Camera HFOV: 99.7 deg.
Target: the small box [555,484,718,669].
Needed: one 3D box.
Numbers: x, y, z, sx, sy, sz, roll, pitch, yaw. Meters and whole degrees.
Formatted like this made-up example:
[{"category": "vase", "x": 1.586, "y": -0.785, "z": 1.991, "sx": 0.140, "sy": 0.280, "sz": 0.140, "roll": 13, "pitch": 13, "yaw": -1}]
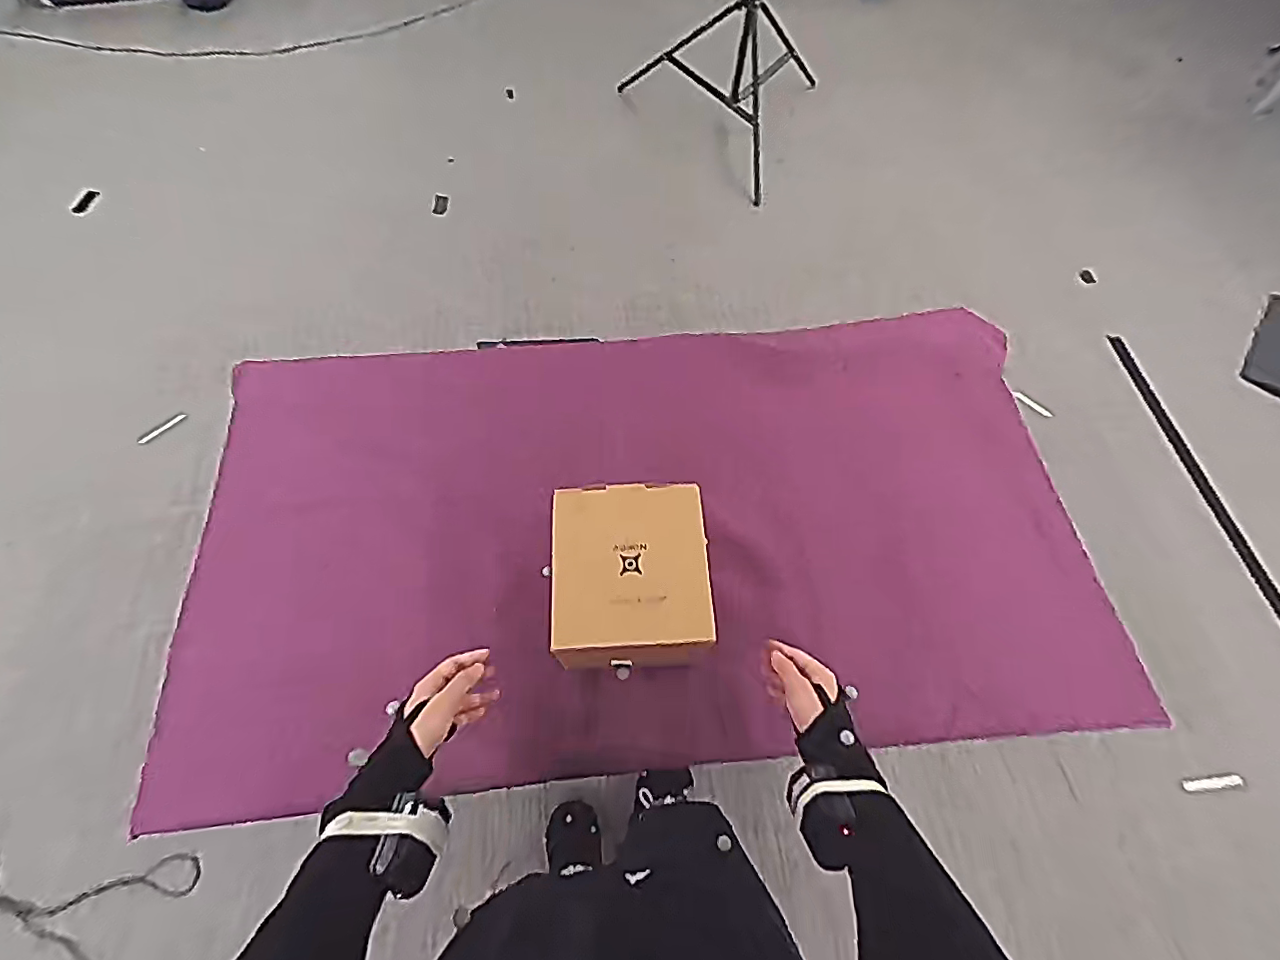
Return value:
[{"category": "small box", "x": -0.010, "y": 0.120, "z": 0.643, "sx": 0.168, "sy": 0.176, "sz": 0.179, "roll": -3, "pitch": 64, "yaw": -2}]
